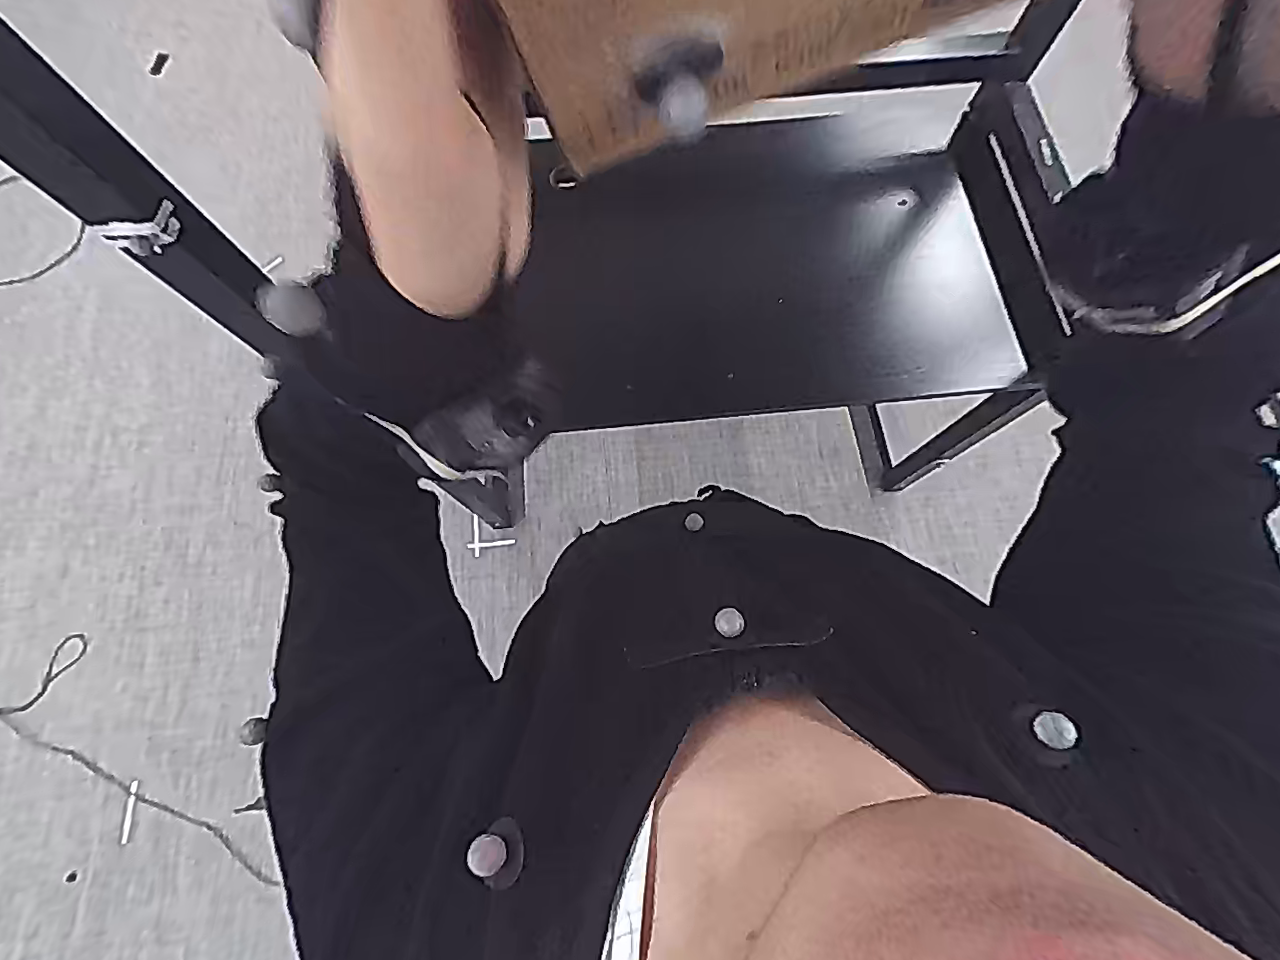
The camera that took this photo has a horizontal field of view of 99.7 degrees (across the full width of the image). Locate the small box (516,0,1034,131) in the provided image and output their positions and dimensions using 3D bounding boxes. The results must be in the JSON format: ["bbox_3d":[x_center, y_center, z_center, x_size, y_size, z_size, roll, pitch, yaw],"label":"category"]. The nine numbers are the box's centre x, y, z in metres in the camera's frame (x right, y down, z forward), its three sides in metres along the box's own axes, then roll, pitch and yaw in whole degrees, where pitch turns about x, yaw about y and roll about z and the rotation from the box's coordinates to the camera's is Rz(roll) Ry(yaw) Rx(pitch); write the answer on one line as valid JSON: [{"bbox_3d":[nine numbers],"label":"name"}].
[{"bbox_3d":[0.028,-0.189,0.073,0.168,0.176,0.179,-19,92,5],"label":"small box"}]
